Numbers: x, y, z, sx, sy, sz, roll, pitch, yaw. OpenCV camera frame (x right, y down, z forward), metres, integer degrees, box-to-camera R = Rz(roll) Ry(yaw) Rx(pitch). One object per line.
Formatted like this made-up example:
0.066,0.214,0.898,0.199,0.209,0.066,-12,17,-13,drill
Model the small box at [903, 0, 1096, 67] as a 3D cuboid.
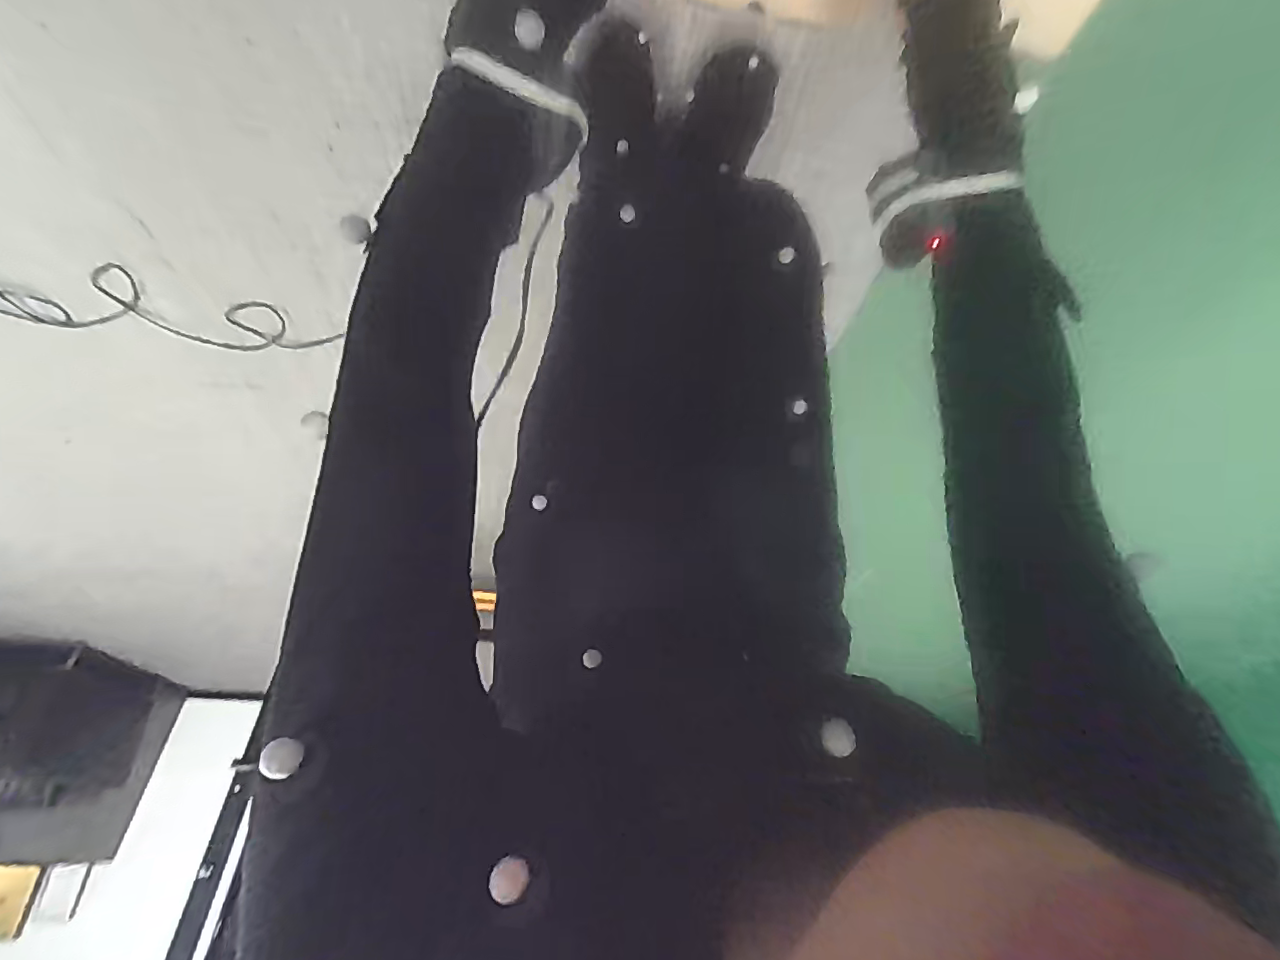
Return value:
0.407,-0.597,0.585,0.168,0.176,0.179,7,146,-7,small box
